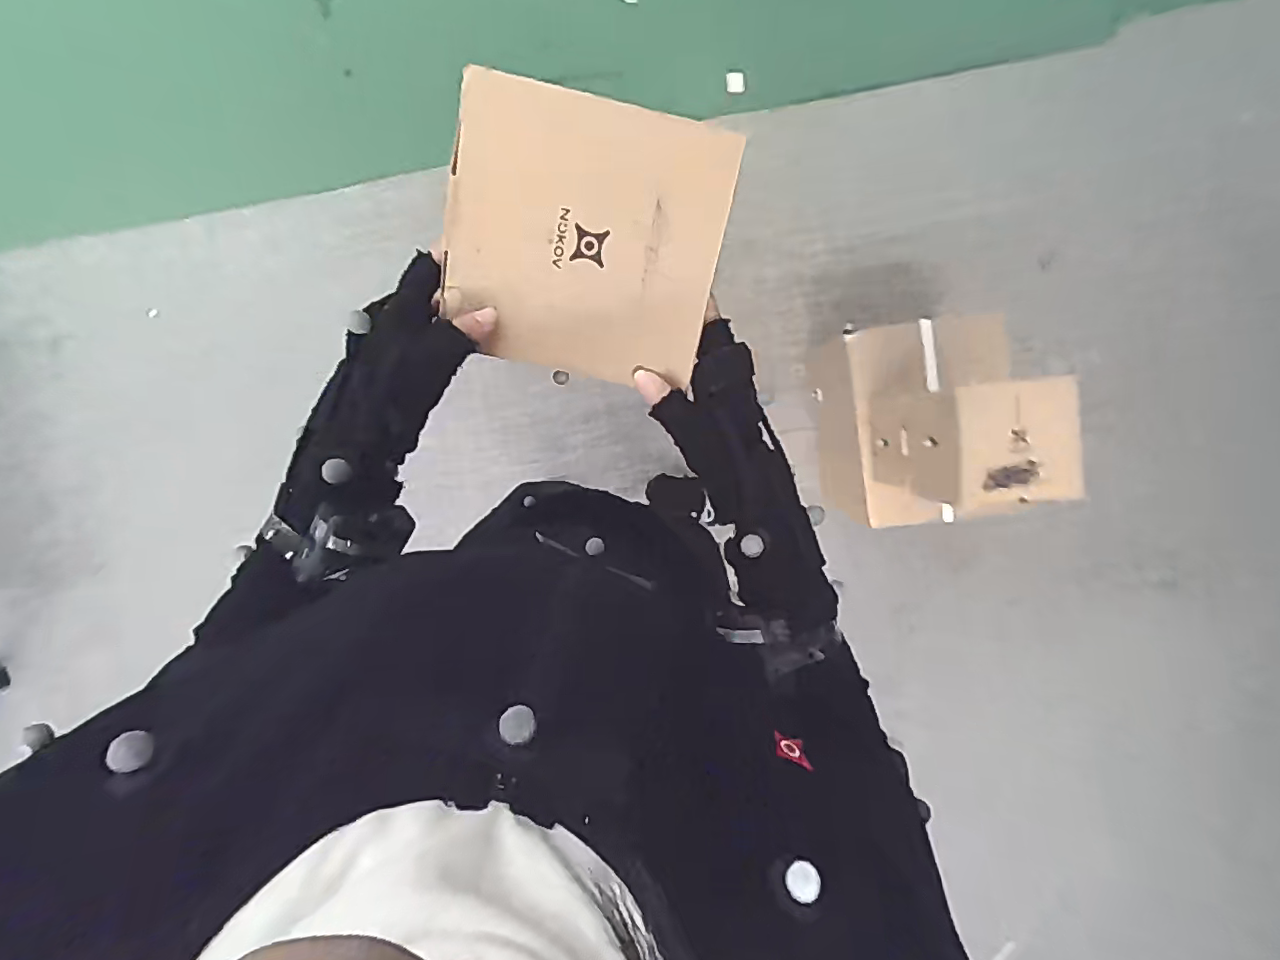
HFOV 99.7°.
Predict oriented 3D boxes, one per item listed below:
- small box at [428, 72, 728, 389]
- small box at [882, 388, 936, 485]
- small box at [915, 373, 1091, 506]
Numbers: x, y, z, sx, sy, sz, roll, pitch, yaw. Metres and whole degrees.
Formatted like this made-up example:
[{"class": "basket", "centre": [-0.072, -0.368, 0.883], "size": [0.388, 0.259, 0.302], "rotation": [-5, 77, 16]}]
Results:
[{"class": "small box", "centre": [-0.045, -0.177, 0.422], "size": [0.179, 0.176, 0.168], "rotation": [9, 109, -3]}, {"class": "small box", "centre": [0.559, -0.082, 0.994], "size": [0.179, 0.176, 0.168], "rotation": [-5, 94, 5]}, {"class": "small box", "centre": [0.544, -0.062, 0.831], "size": [0.168, 0.176, 0.179], "rotation": [-5, 93, 4]}]
